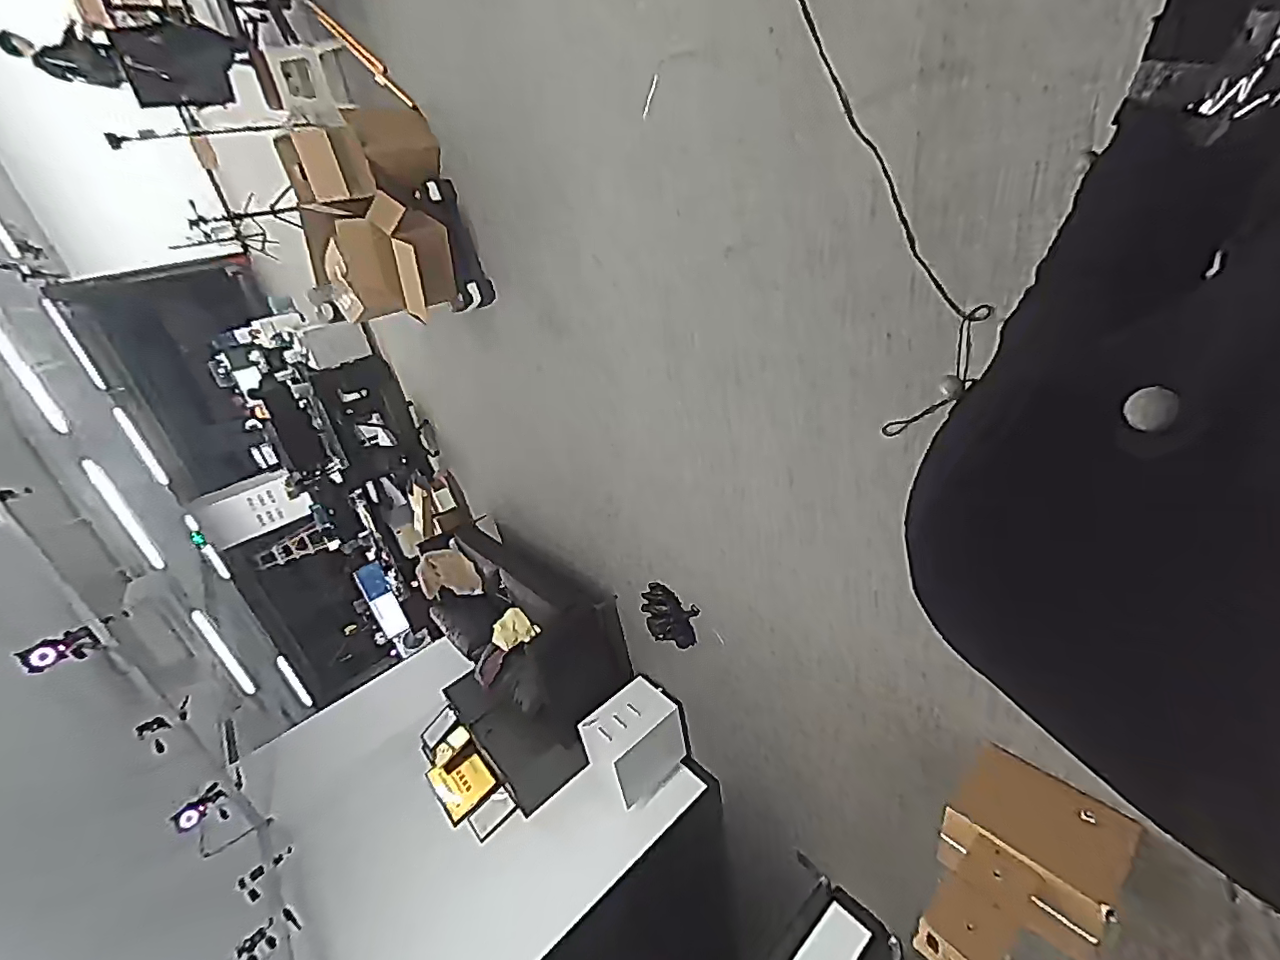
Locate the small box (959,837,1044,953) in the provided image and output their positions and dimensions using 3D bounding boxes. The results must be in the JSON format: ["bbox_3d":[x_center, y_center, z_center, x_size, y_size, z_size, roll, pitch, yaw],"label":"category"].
[{"bbox_3d":[1.030,1.185,1.556,0.168,0.176,0.179,23,132,45],"label":"small box"}]

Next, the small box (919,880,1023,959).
[{"bbox_3d":[0.898,1.242,1.473,0.179,0.176,0.168,25,134,43],"label":"small box"}]
